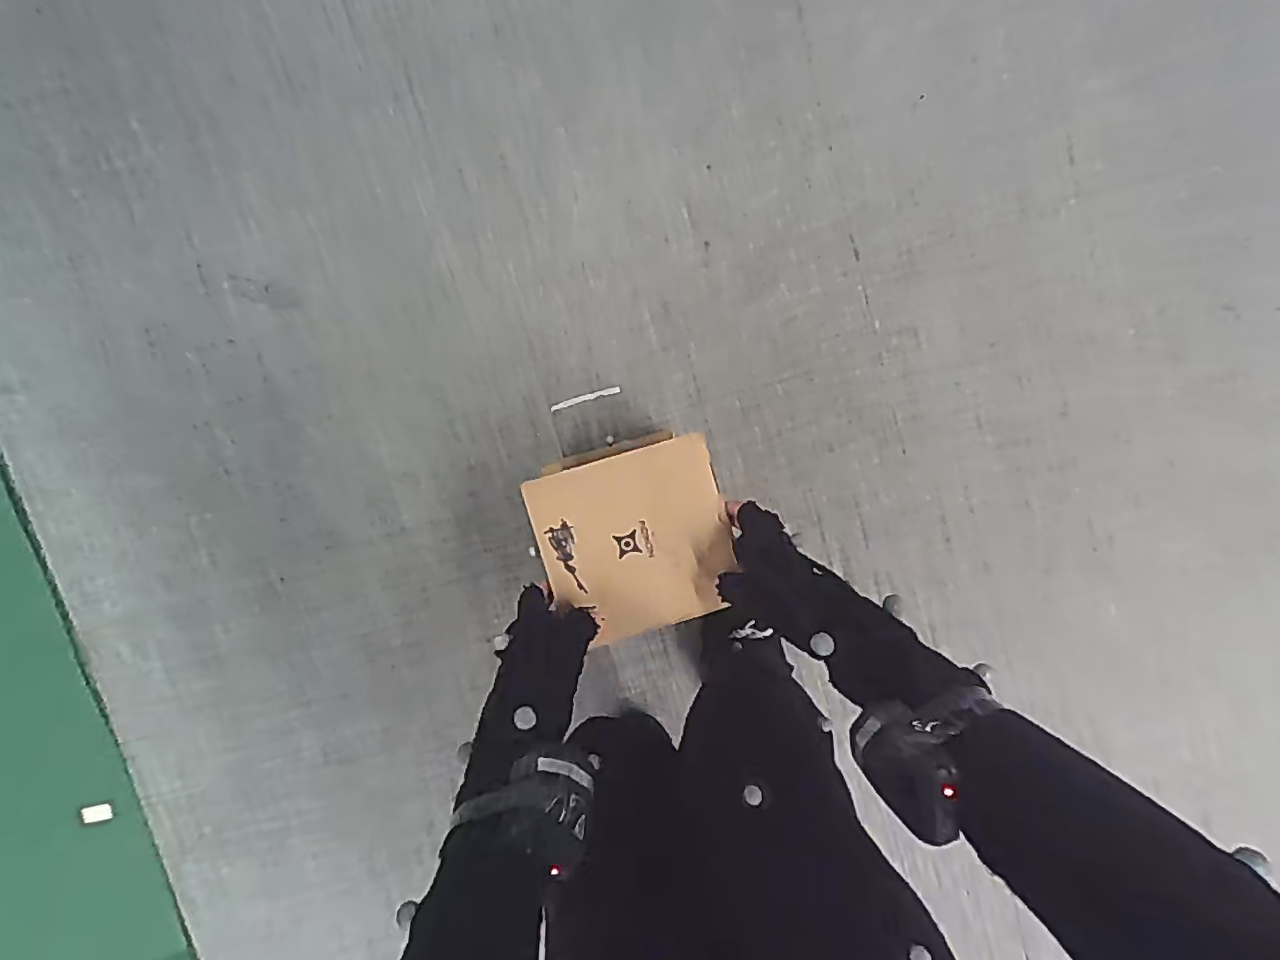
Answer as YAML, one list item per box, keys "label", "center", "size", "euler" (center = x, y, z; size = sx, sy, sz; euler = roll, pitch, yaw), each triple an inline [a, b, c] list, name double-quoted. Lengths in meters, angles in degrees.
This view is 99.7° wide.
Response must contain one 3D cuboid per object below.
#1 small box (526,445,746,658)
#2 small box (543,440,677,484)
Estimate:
- label: "small box"
  center: [-0.007, 0.063, 0.580]
  size: [0.179, 0.176, 0.168]
  euler: [-16, 92, -2]
- label: "small box"
  center: [-0.019, 0.041, 0.765]
  size: [0.179, 0.176, 0.168]
  euler: [-16, 94, 3]
